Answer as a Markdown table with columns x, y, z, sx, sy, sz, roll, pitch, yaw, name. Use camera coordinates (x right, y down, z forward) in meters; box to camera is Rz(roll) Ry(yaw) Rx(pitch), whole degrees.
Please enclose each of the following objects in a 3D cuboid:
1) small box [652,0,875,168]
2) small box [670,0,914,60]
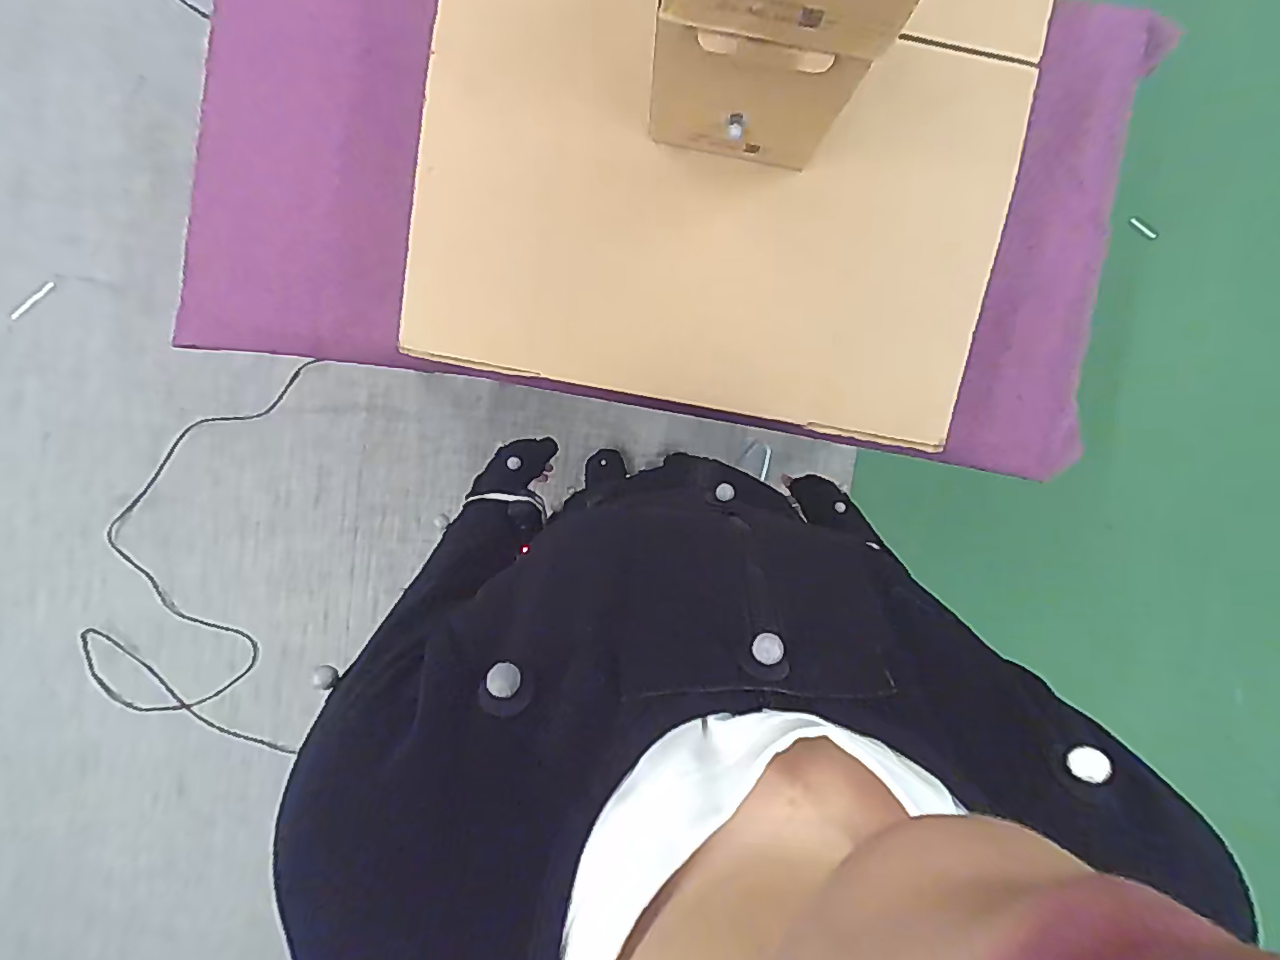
| x | y | z | sx | sy | sz | roll | pitch | yaw | name |
| --- | --- | --- | --- | --- | --- | --- | --- | --- | --- |
| 0.106 | -0.412 | 0.466 | 0.168 | 0.176 | 0.179 | 11 | 93 | -2 | small box |
| 0.109 | -0.396 | 0.304 | 0.168 | 0.176 | 0.179 | 9 | 93 | -2 | small box |
